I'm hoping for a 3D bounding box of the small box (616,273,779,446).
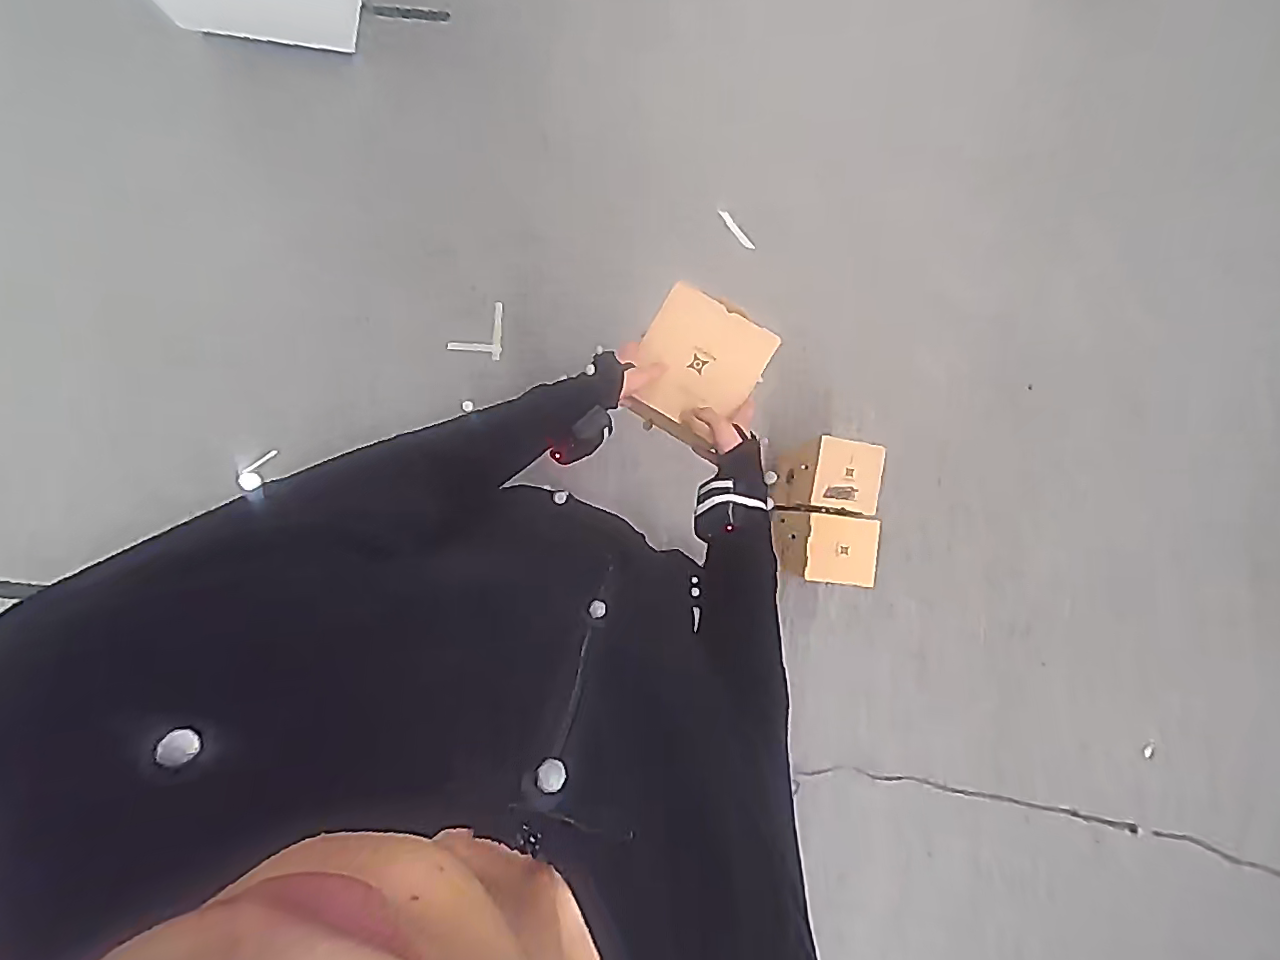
[{"bbox_3d":[0.074,-0.165,0.808,0.168,0.176,0.179,31,89,-1],"label":"small box"}]
